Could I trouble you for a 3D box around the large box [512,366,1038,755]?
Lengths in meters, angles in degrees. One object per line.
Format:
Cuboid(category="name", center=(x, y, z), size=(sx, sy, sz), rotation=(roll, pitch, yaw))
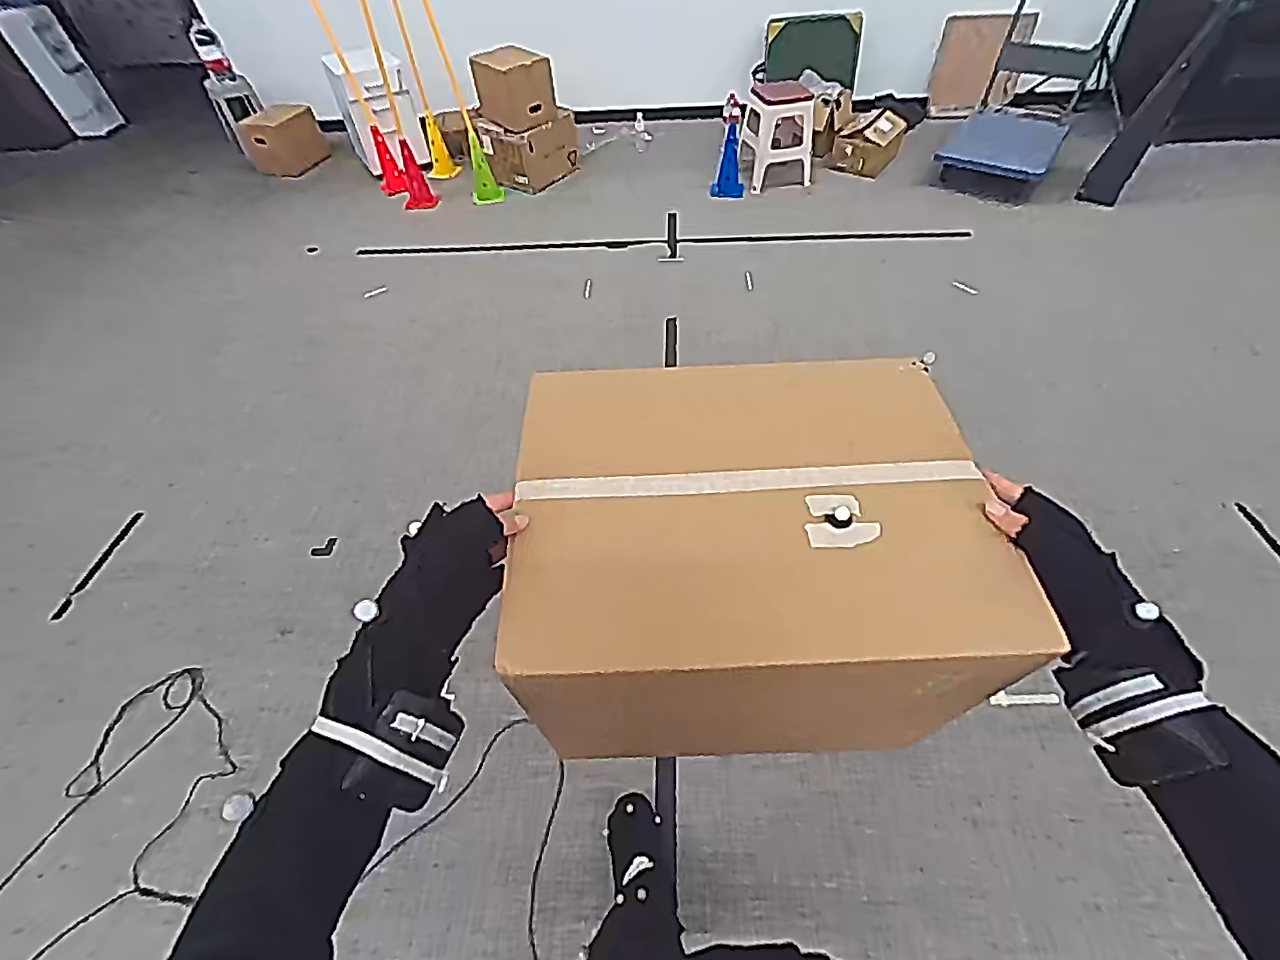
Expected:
Cuboid(category="large box", center=(0.096, 0.099, 0.606), size=(0.408, 0.320, 0.320), rotation=(-3, 53, 0))
